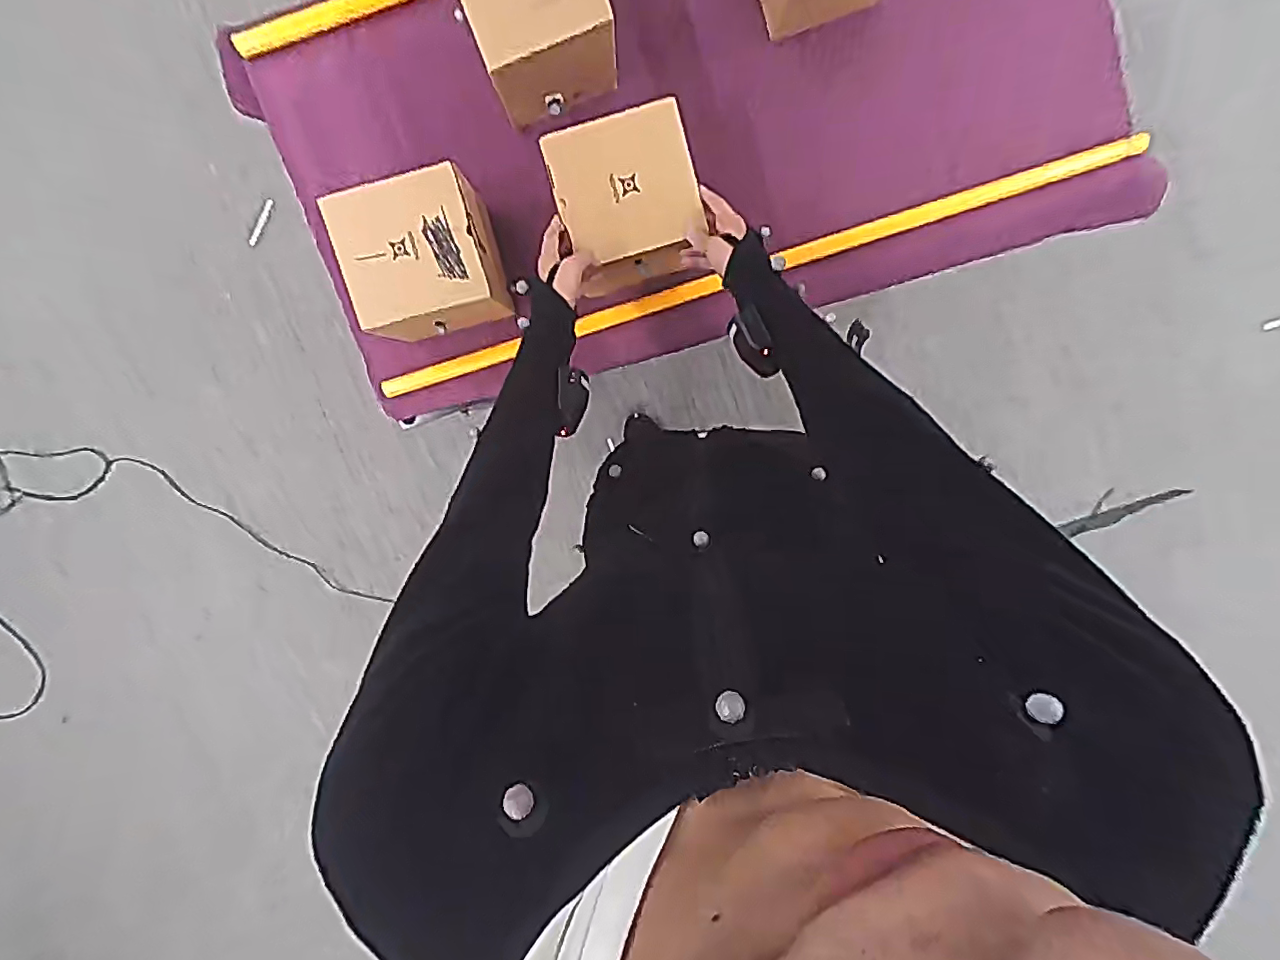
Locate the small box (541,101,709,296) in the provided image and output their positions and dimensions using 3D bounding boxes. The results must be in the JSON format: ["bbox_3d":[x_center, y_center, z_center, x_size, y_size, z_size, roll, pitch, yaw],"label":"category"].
[{"bbox_3d":[-0.019,-0.372,0.747,0.179,0.176,0.168,-16,97,2],"label":"small box"}]

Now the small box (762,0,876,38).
[{"bbox_3d":[0.246,-0.724,0.694,0.179,0.176,0.168,-18,100,2],"label":"small box"}]

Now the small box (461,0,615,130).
[{"bbox_3d":[-0.139,-0.609,0.707,0.168,0.176,0.179,-21,100,3],"label":"small box"}]

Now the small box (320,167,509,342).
[{"bbox_3d":[-0.292,-0.299,0.752,0.179,0.176,0.168,-15,99,1],"label":"small box"}]
